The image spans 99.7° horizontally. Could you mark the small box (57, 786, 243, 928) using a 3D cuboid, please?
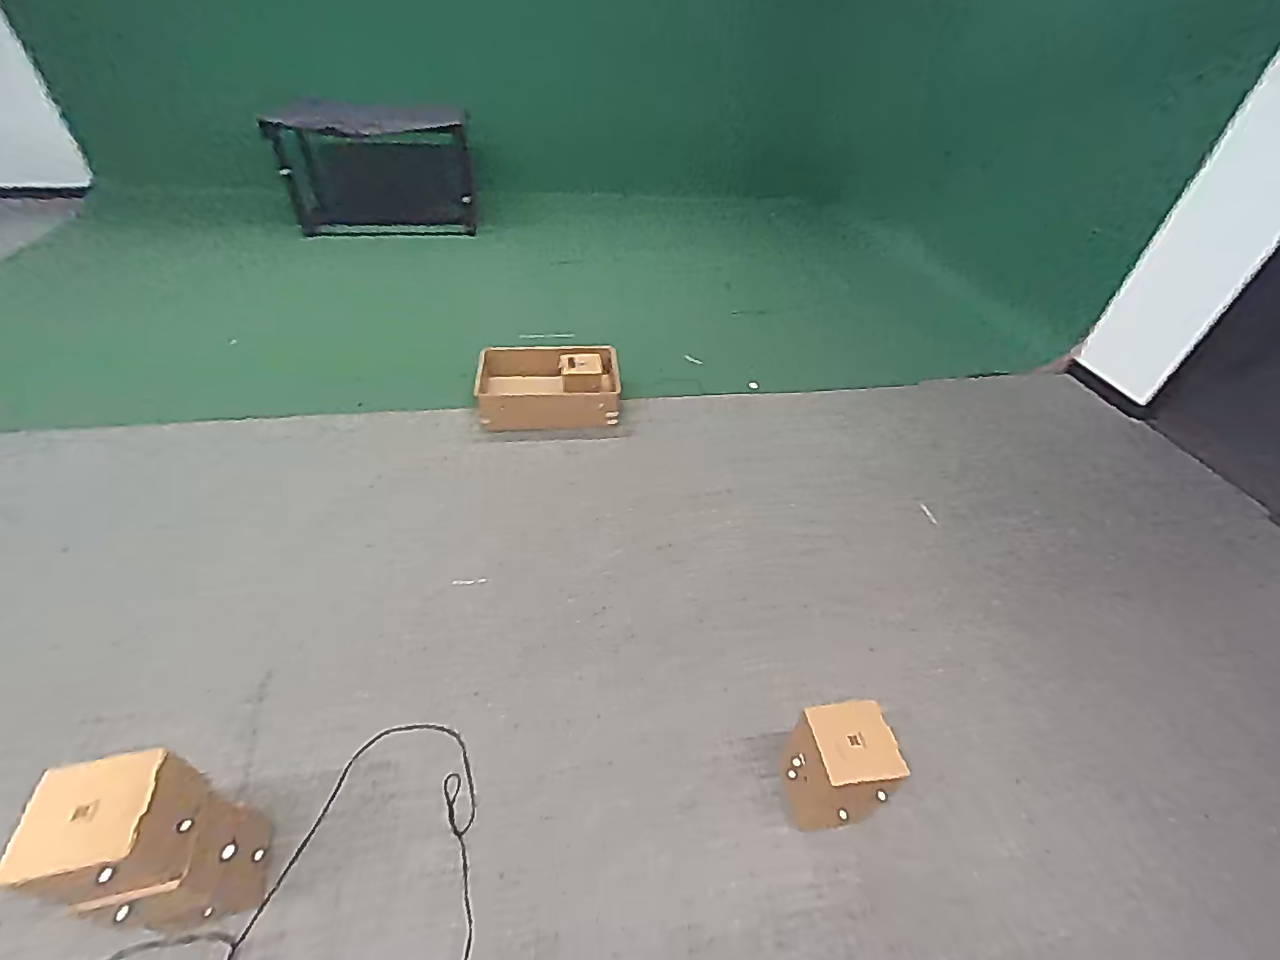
[{"bbox_3d":[-0.898,0.707,1.013,0.179,0.176,0.168,-6,44,-12],"label":"small box"}]

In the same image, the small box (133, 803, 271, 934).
[{"bbox_3d":[-0.914,0.816,1.136,0.179,0.176,0.168,-10,44,-14],"label":"small box"}]

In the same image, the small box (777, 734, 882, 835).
[{"bbox_3d":[0.453,0.739,1.329,0.168,0.176,0.179,-3,43,-8],"label":"small box"}]

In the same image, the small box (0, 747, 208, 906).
[{"bbox_3d":[-0.886,0.583,0.908,0.179,0.176,0.168,-7,44,-13],"label":"small box"}]

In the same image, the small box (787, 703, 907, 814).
[{"bbox_3d":[0.453,0.624,1.213,0.179,0.176,0.168,-4,42,-7],"label":"small box"}]
